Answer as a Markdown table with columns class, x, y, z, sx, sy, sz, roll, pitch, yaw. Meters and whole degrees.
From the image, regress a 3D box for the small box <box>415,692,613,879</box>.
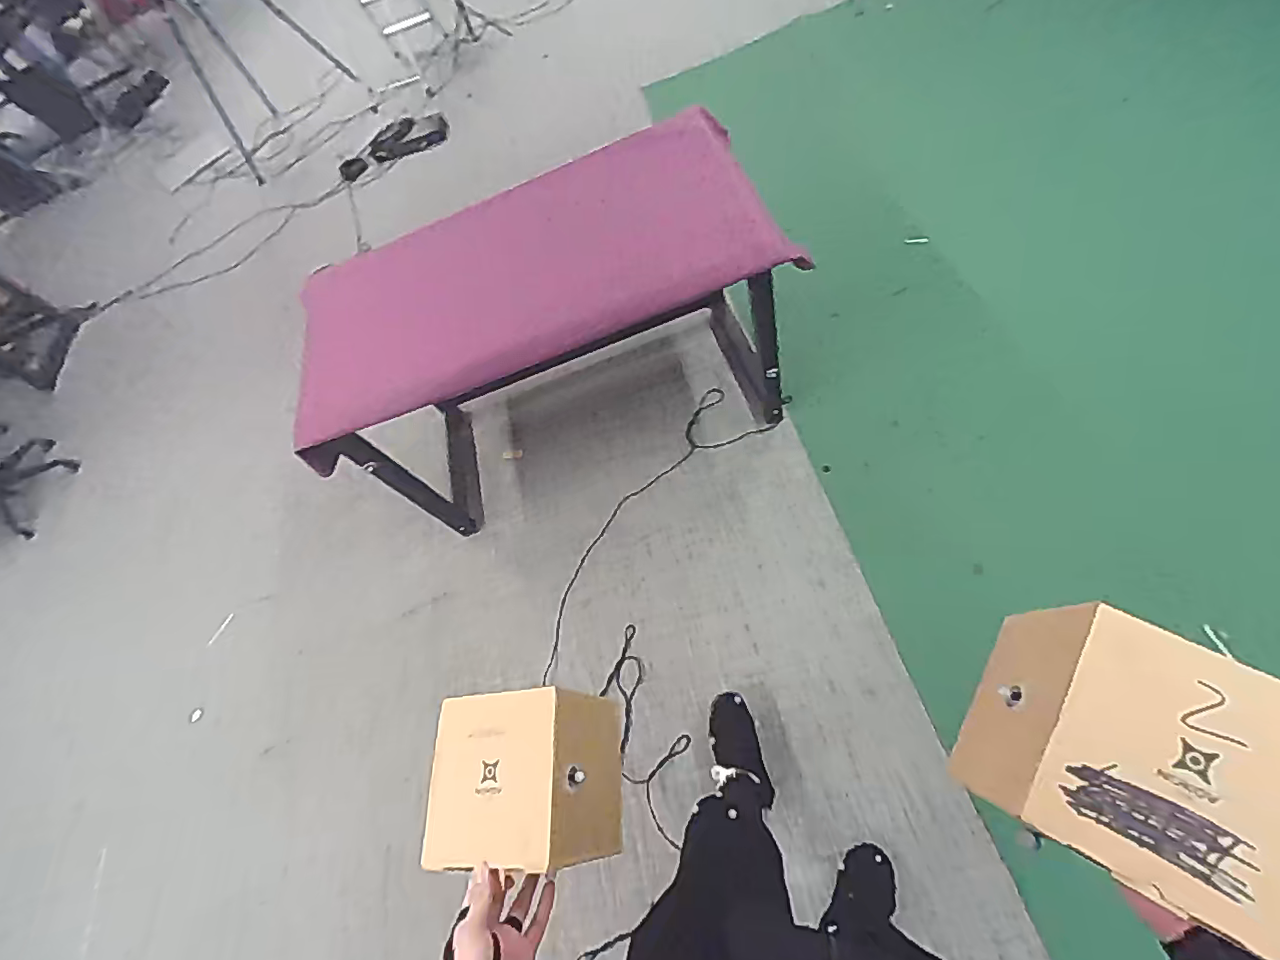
| class | x | y | z | sx | sy | sz | roll | pitch | yaw |
| --- | --- | --- | --- | --- | --- | --- | --- | --- | --- |
| small box | -0.140 | 0.366 | 0.663 | 0.168 | 0.176 | 0.179 | -14 | 59 | 19 |
